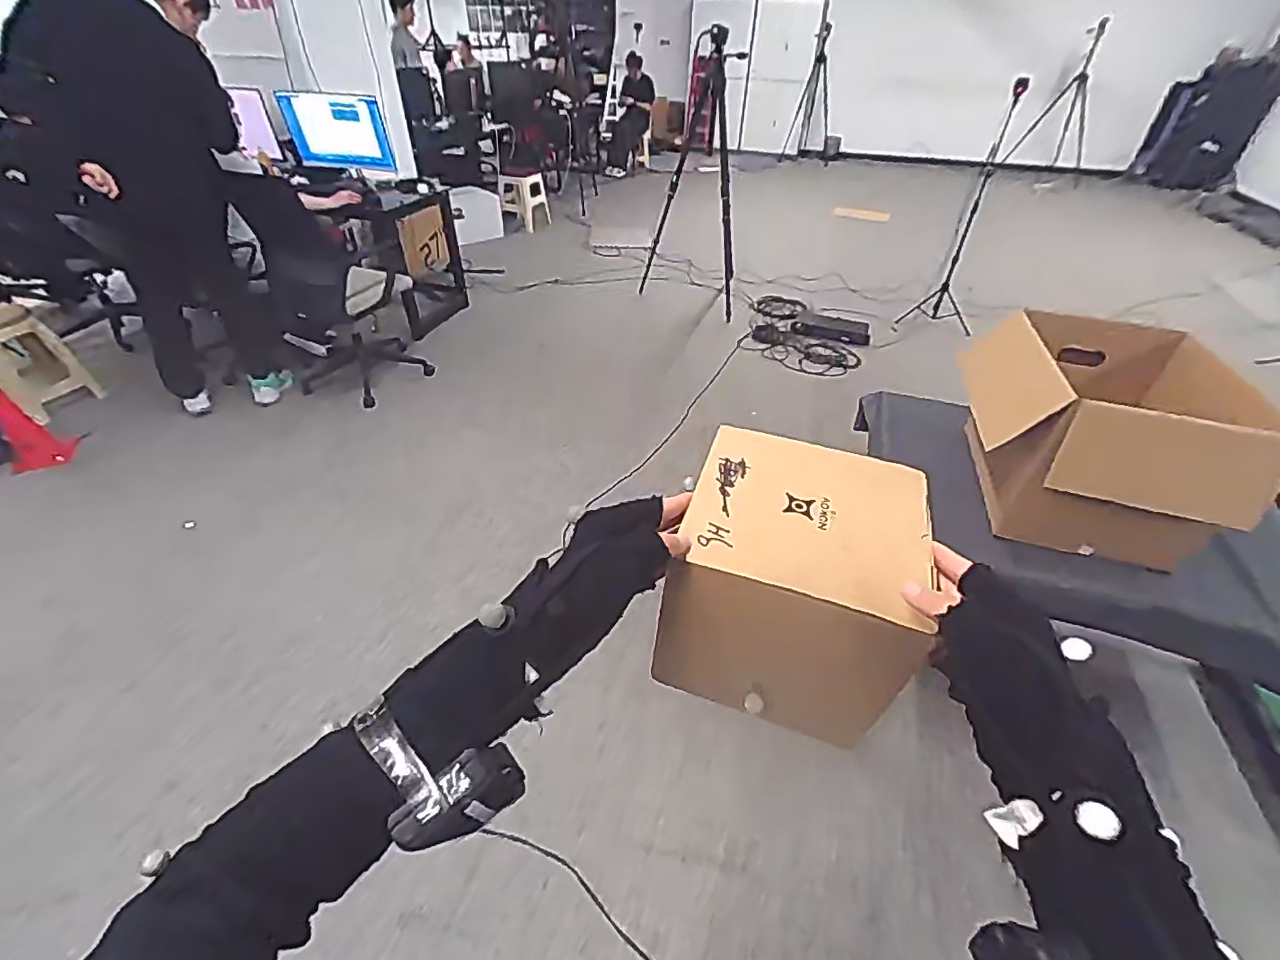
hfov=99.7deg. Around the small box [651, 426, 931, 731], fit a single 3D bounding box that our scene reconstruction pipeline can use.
[{"bbox_3d":[0.121,0.085,0.464,0.179,0.176,0.168,17,42,11],"label":"small box"}]
